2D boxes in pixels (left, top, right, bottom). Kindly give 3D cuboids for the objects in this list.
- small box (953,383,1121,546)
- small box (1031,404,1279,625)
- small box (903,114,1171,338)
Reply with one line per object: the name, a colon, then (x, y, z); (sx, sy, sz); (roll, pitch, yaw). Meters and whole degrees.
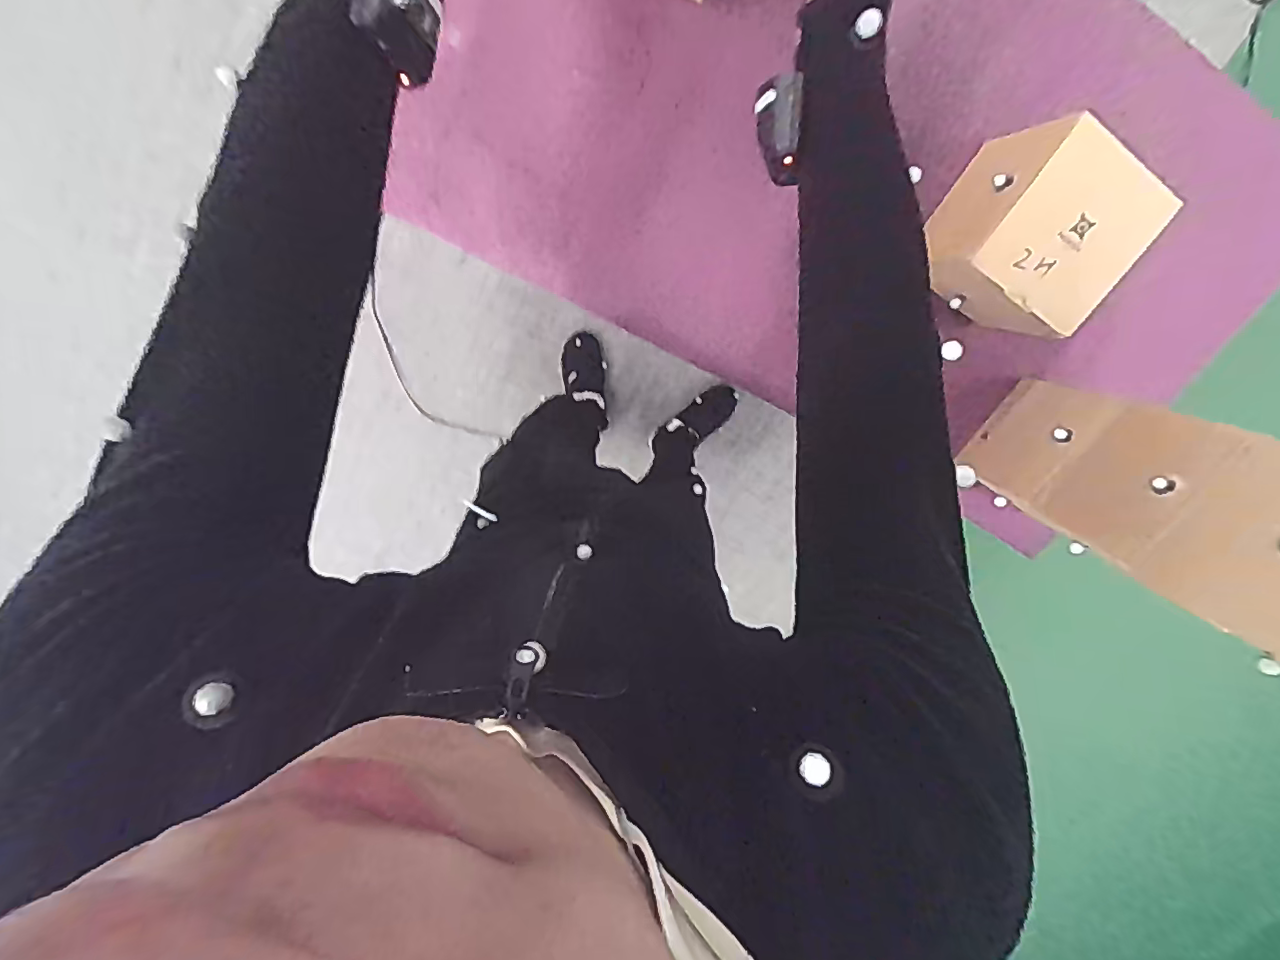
small box: (0.621, -0.026, 0.800); (0.179, 0.176, 0.168); (29, 106, -13)
small box: (0.632, 0.030, 0.647); (0.168, 0.176, 0.179); (30, 107, -12)
small box: (0.477, -0.308, 0.681); (0.168, 0.176, 0.179); (30, 108, -13)
